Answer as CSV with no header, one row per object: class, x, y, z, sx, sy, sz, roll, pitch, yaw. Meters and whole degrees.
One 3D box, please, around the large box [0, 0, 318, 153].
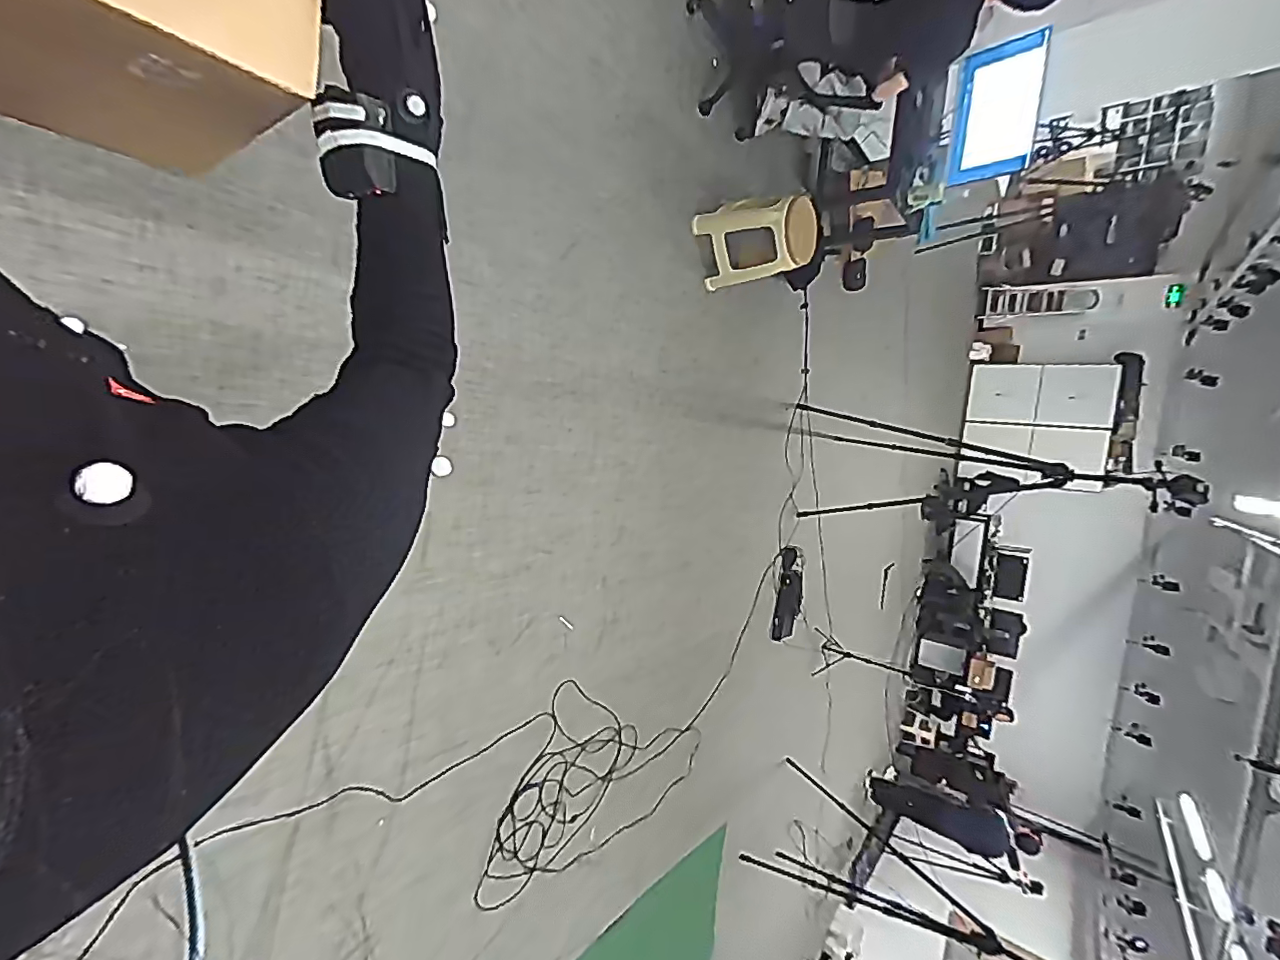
large box,-0.449,-0.448,0.296,0.408,0.320,0.320,-2,103,-51
